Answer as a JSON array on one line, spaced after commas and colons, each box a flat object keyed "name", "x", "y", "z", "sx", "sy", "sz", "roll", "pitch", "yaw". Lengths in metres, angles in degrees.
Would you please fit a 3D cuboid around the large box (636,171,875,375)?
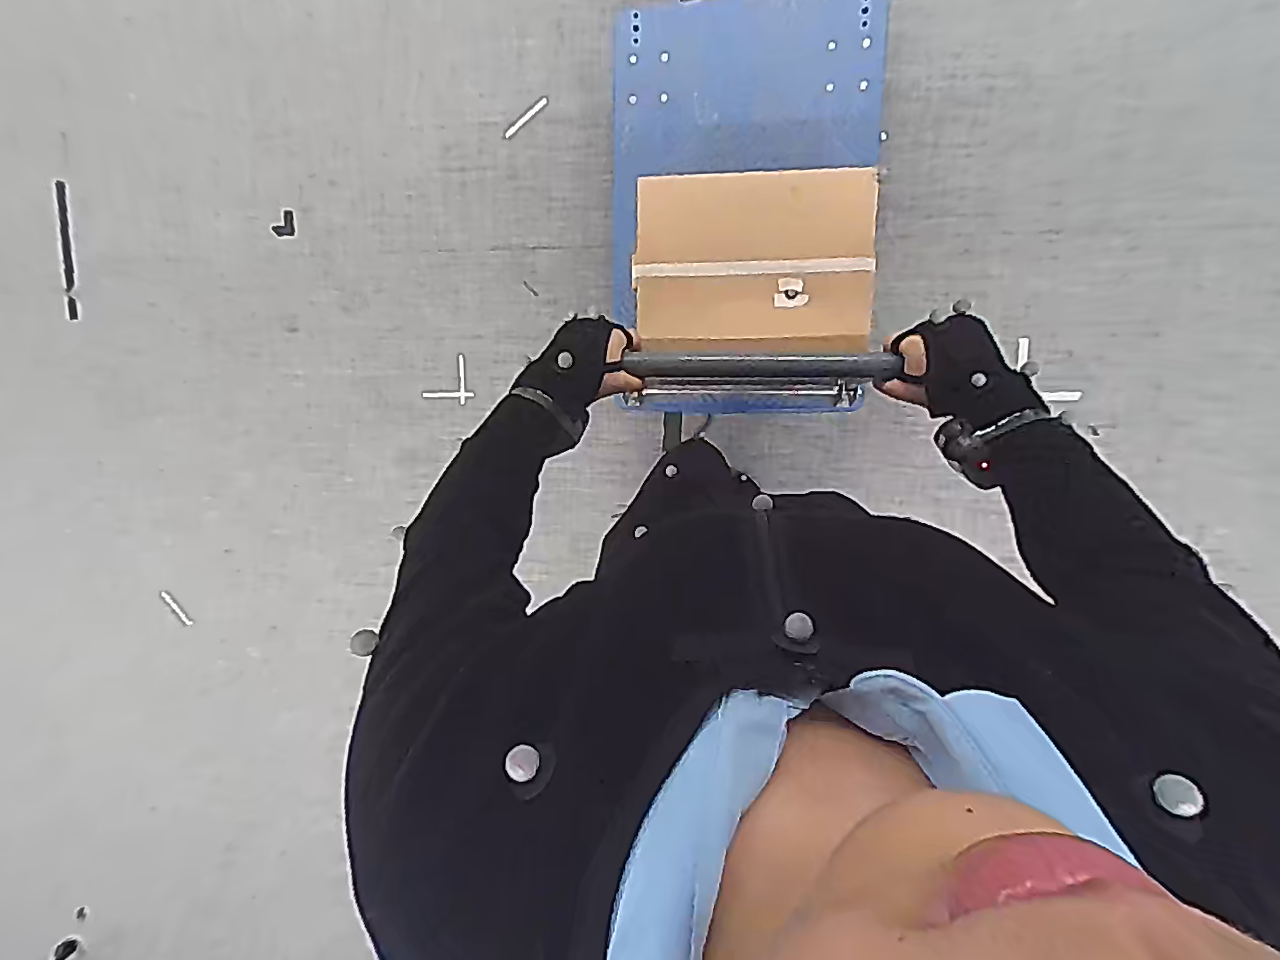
[{"name": "large box", "x": 0.208, "y": -0.378, "z": 1.080, "sx": 0.408, "sy": 0.320, "sz": 0.320, "roll": 1, "pitch": 99, "yaw": 6}]
